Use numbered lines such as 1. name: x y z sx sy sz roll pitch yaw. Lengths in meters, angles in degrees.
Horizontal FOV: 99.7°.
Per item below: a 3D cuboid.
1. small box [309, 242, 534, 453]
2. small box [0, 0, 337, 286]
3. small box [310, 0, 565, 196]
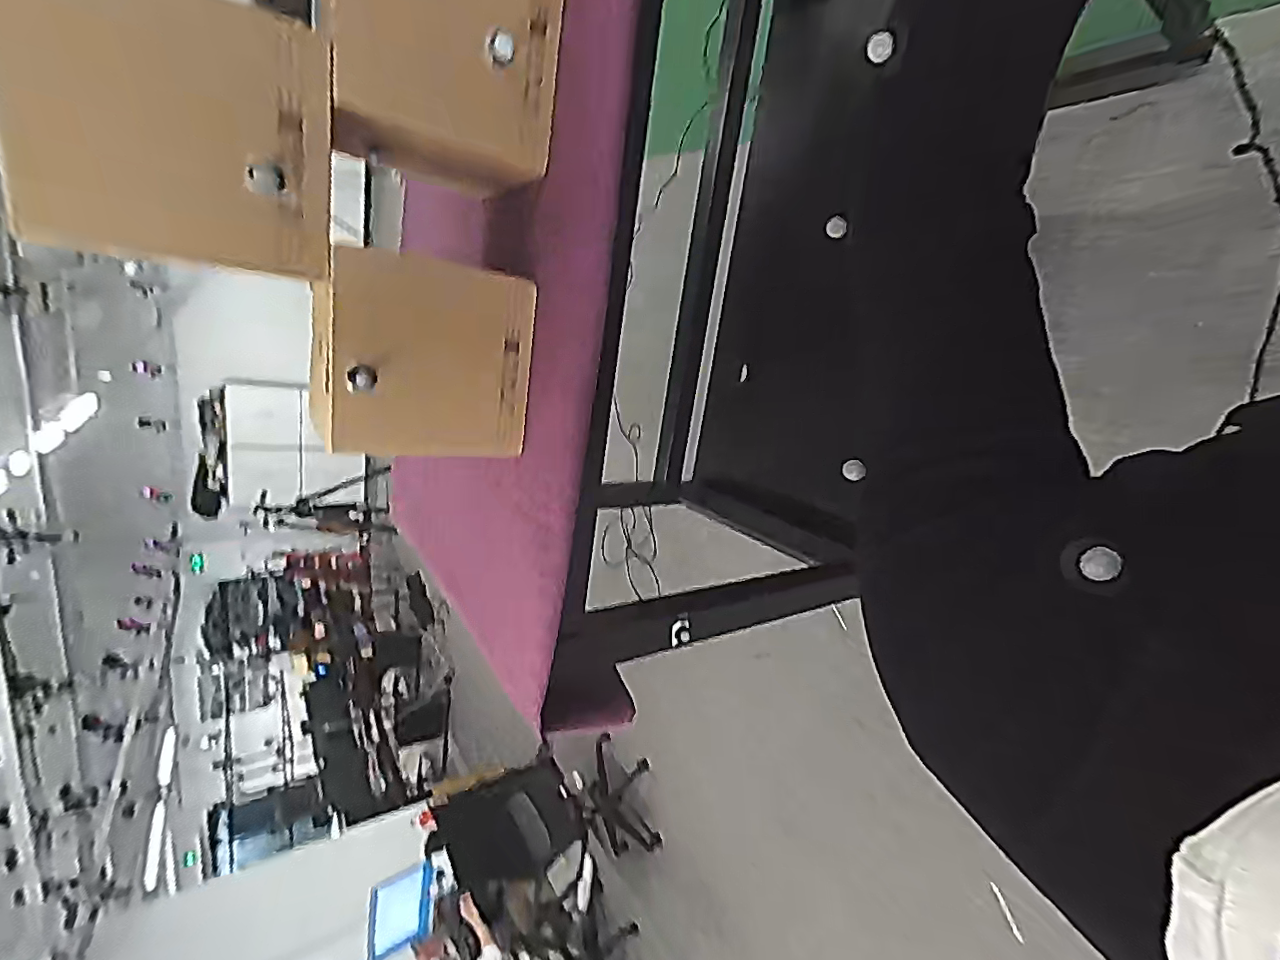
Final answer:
1. small box: -0.221 -0.122 0.530 0.179 0.176 0.168 26 112 52
2. small box: -0.337 -0.248 0.410 0.179 0.176 0.168 28 114 50
3. small box: -0.185 -0.367 0.475 0.179 0.176 0.168 26 112 50
